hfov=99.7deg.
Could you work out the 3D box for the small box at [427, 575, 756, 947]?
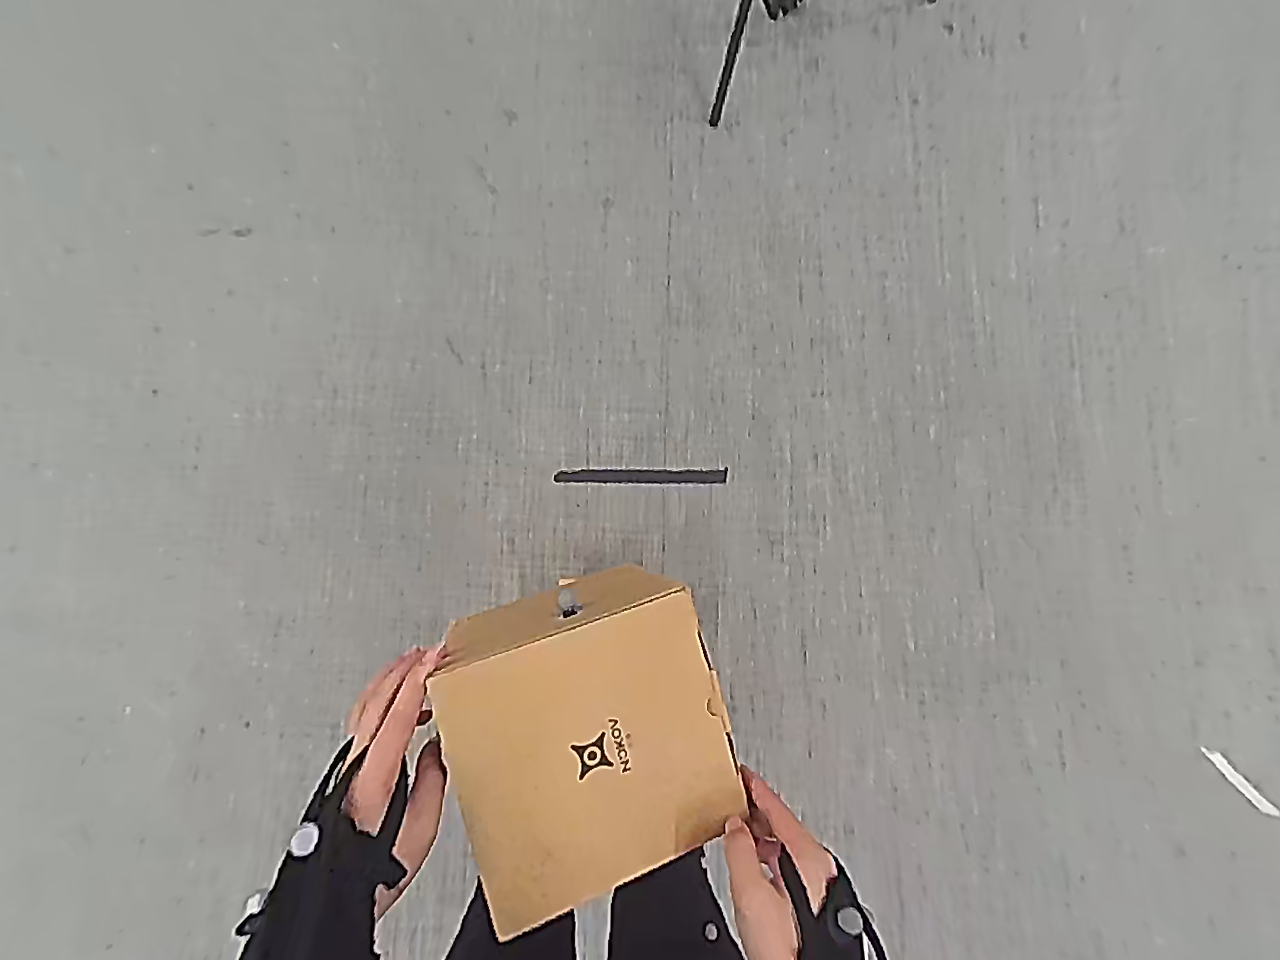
[{"bbox_3d":[-0.044,0.181,0.416,0.179,0.176,0.168,-17,90,-16],"label":"small box"}]
